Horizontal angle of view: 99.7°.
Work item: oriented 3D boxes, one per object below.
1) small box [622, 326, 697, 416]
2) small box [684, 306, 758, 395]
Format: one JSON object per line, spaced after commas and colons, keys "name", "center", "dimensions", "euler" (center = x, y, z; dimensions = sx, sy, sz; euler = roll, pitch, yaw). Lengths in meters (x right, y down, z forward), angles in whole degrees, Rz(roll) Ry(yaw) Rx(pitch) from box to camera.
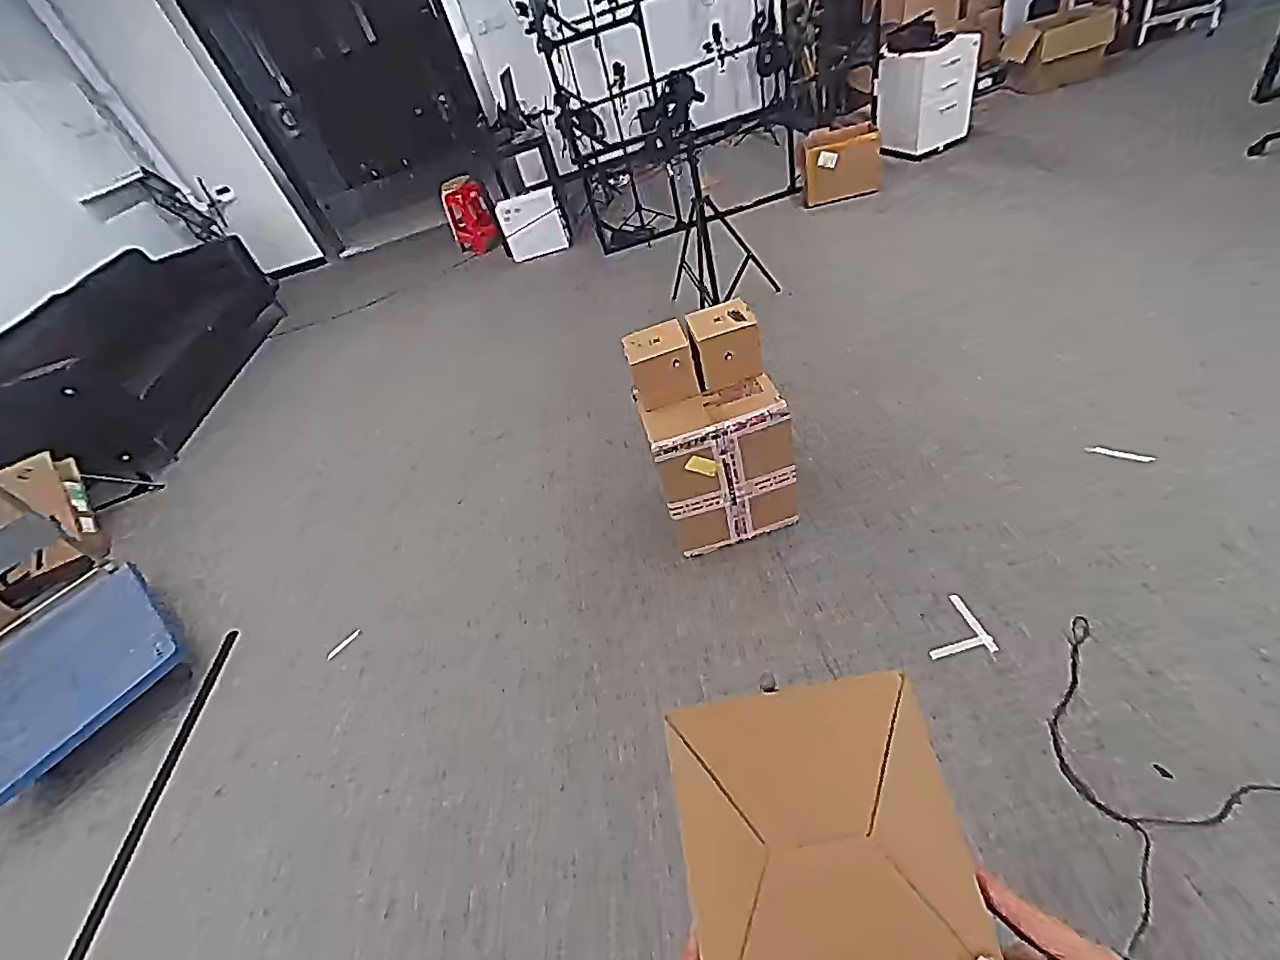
{"name": "small box", "center": [0.061, -0.320, 1.599], "dimensions": [0.179, 0.176, 0.168], "euler": [-19, 42, 5]}
{"name": "small box", "center": [0.242, -0.380, 1.595], "dimensions": [0.179, 0.176, 0.168], "euler": [-17, 43, 2]}
